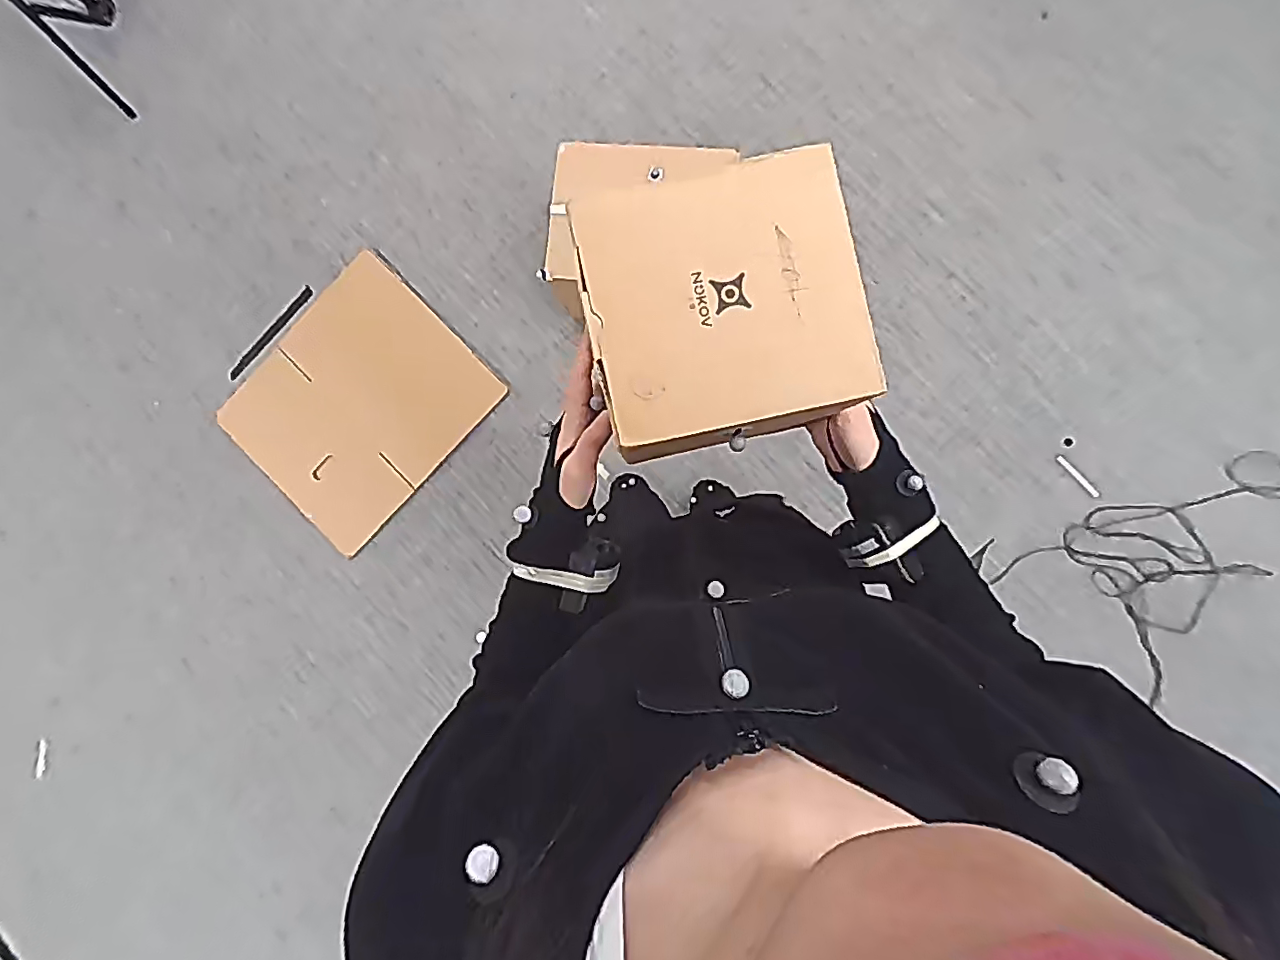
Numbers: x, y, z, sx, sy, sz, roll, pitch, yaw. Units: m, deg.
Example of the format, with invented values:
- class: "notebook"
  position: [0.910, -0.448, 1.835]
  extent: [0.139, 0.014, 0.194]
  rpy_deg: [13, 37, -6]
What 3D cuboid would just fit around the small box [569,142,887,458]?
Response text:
- class: "small box"
  position: [0.056, -0.116, 0.421]
  extent: [0.179, 0.176, 0.168]
  rpy_deg: [-13, 89, 0]
